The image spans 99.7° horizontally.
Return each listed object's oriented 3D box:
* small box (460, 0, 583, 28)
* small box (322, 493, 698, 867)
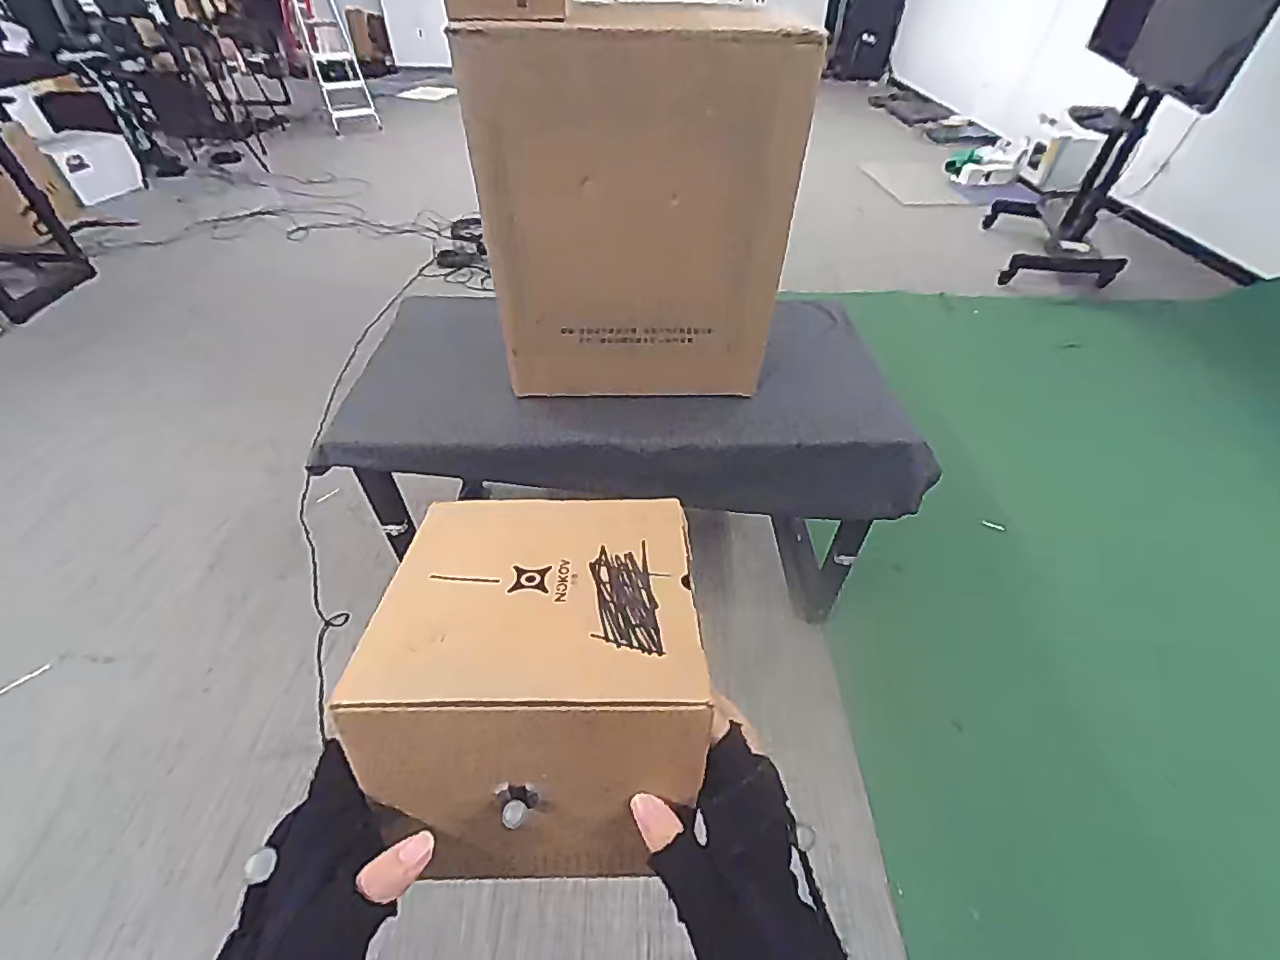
[{"bbox_3d":[-0.167,-0.745,0.747,0.168,0.176,0.179,0,48,-2],"label":"small box"},{"bbox_3d":[-0.063,0.126,0.358,0.179,0.176,0.168,1,31,-2],"label":"small box"}]
